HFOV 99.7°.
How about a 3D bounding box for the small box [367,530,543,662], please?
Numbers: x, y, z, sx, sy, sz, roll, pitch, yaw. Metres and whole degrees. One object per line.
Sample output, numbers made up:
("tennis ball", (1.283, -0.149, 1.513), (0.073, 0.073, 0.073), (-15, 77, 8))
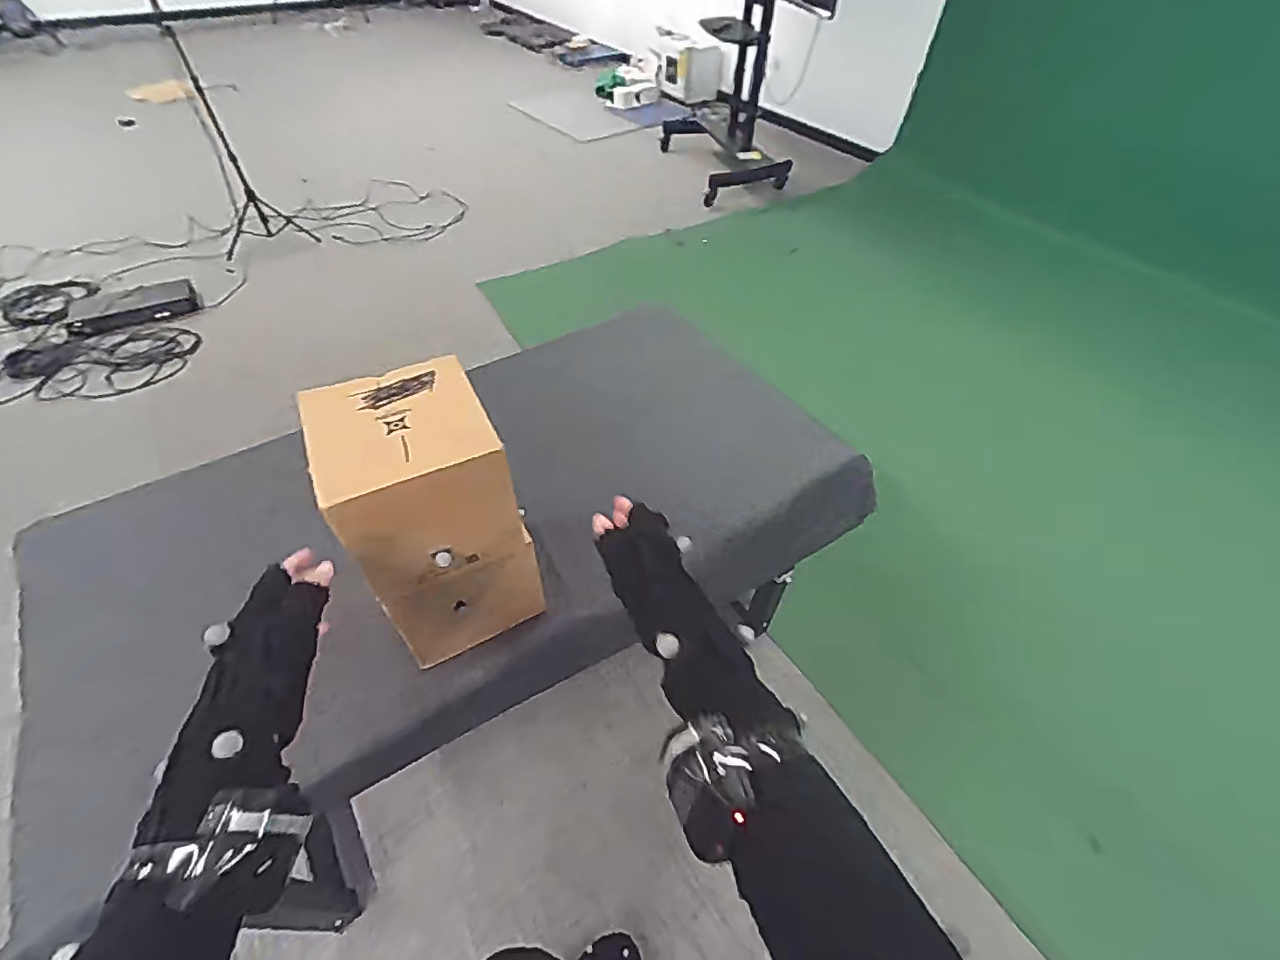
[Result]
("small box", (-0.246, 0.108, 0.716), (0.179, 0.176, 0.168), (-24, 53, -20))

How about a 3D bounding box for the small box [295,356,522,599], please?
("small box", (-0.247, -0.005, 0.596), (0.168, 0.176, 0.179), (-24, 51, -21))
